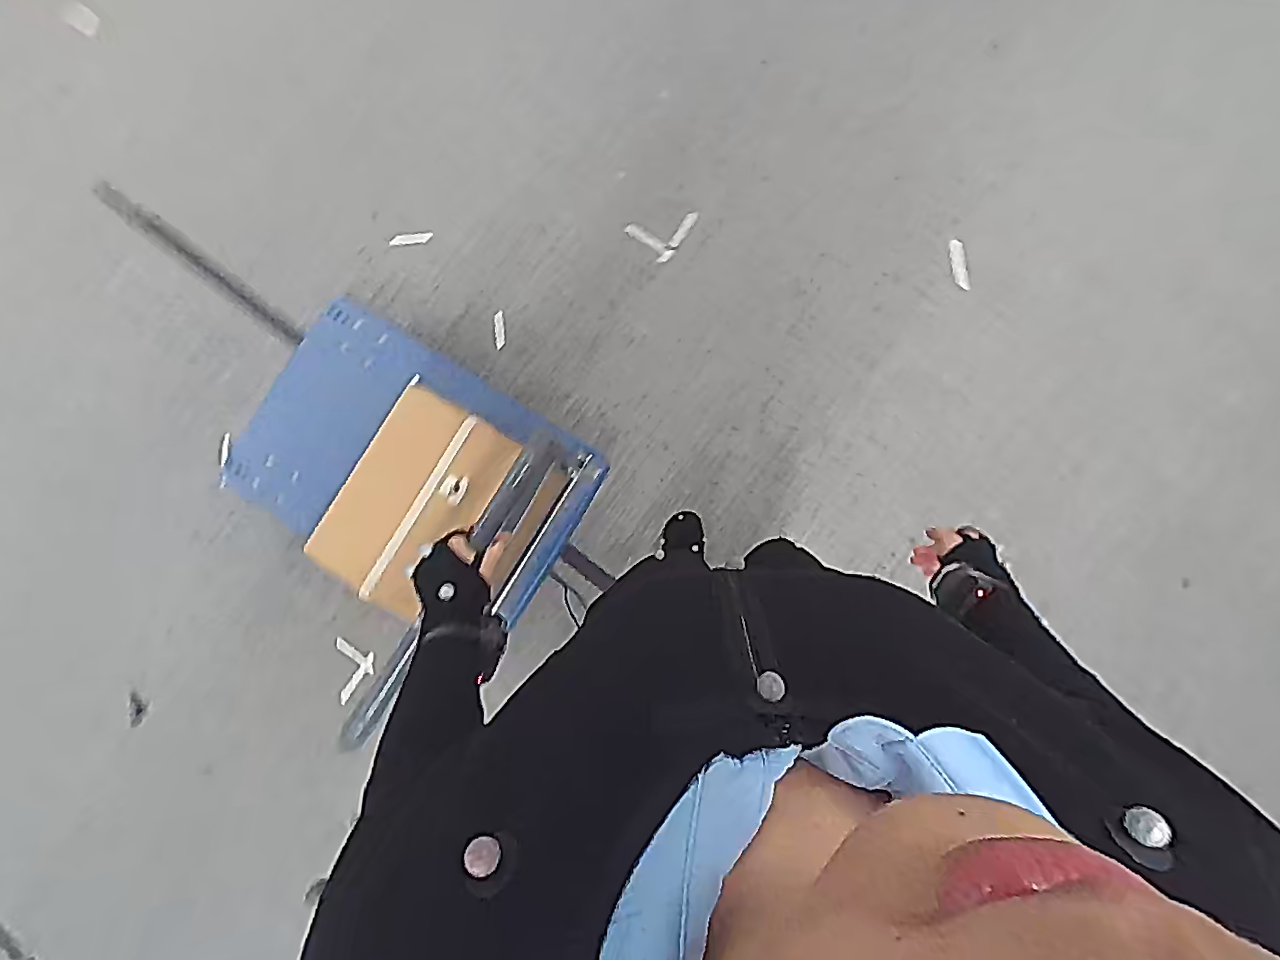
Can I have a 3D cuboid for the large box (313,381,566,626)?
[{"bbox_3d":[-0.421,0.058,1.226,0.320,0.320,0.408,32,87,5],"label":"large box"}]
